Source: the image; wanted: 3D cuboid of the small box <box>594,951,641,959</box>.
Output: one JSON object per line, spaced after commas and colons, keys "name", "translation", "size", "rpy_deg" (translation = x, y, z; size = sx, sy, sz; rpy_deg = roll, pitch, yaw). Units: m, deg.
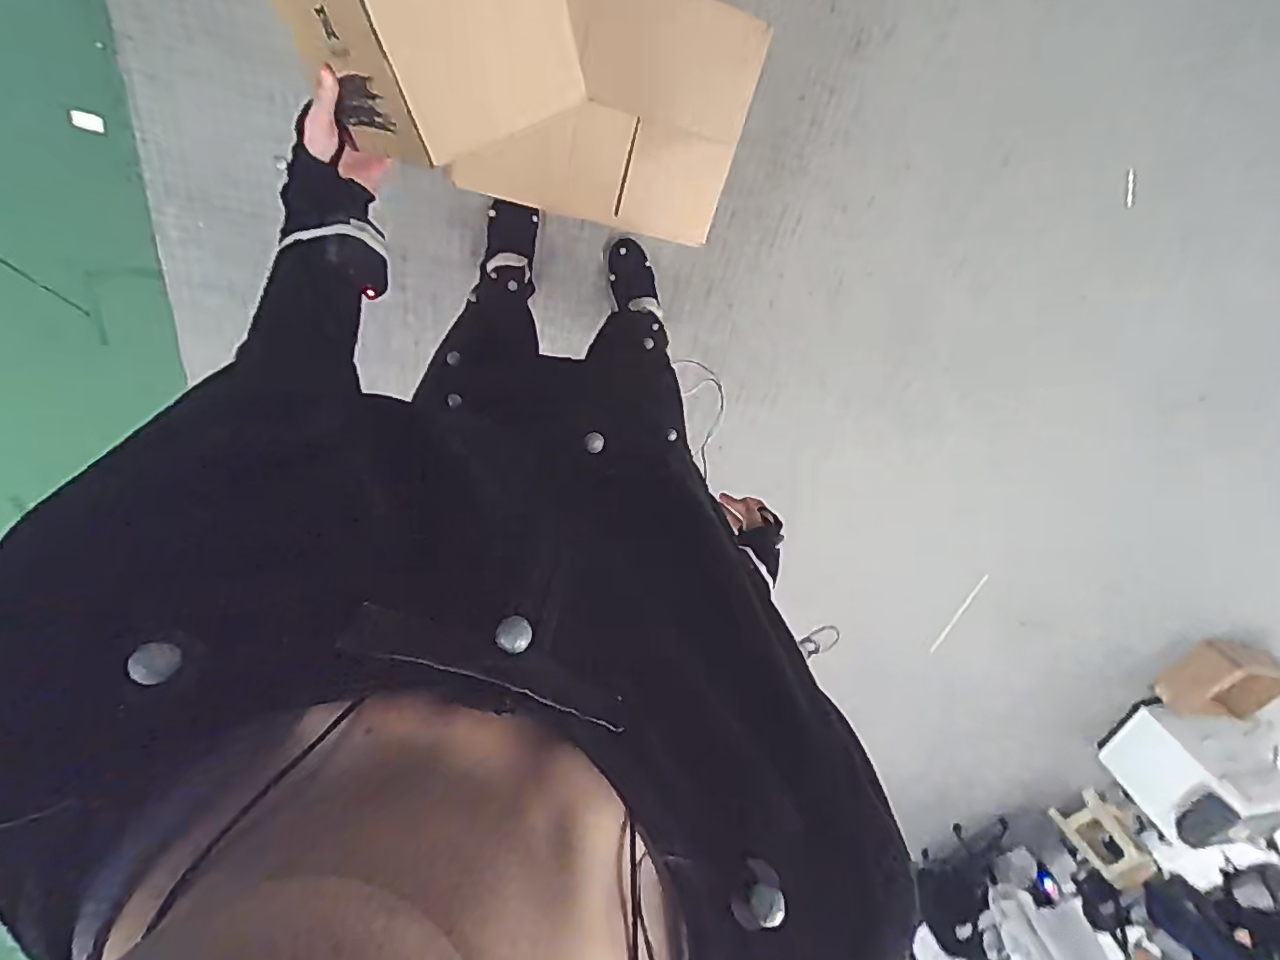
{"name": "small box", "translation": [-0.084, 1.868, 1.989], "size": [0.179, 0.176, 0.168], "rpy_deg": [5, 123, -13]}
